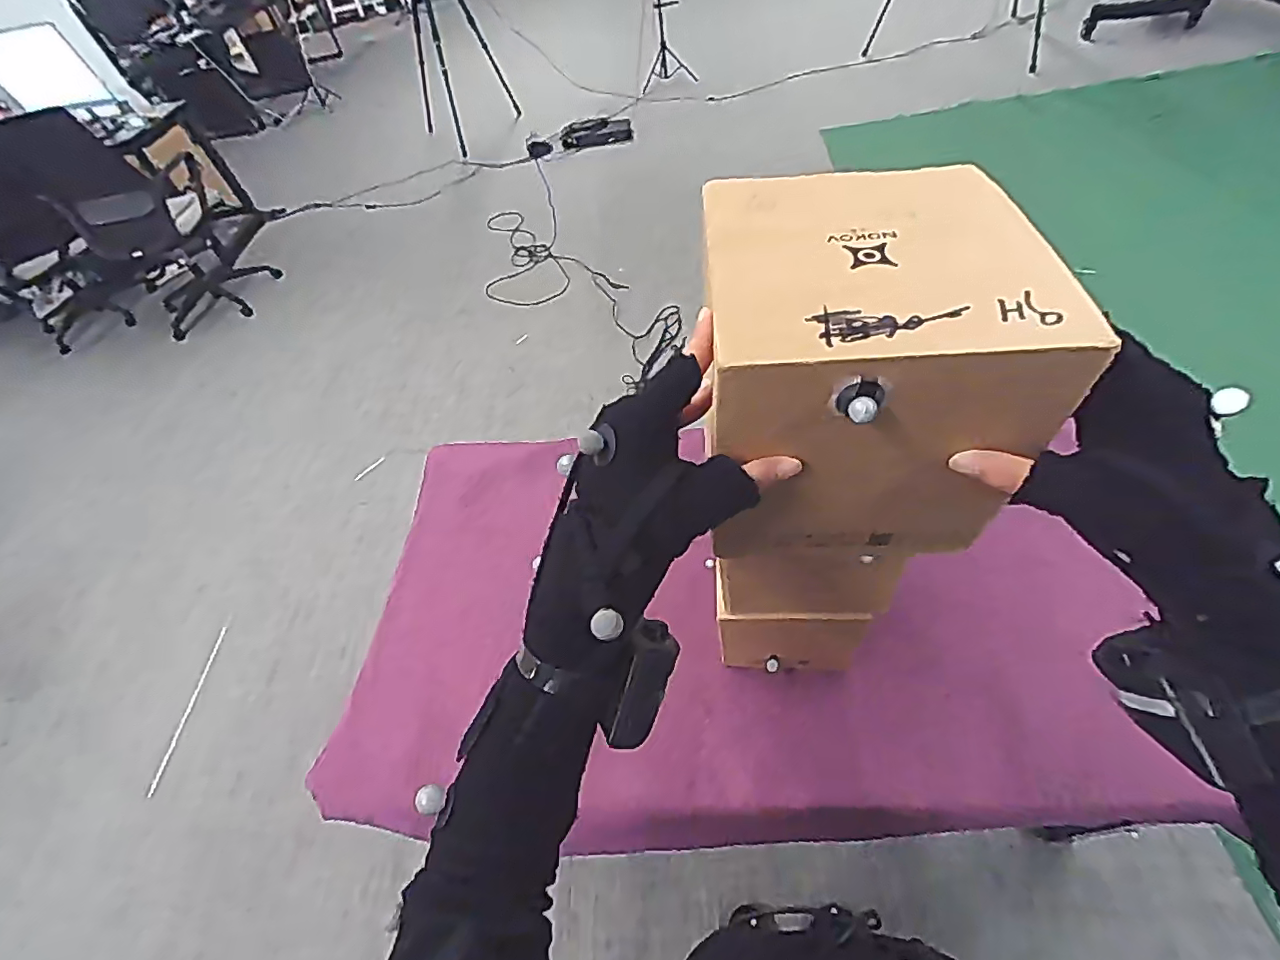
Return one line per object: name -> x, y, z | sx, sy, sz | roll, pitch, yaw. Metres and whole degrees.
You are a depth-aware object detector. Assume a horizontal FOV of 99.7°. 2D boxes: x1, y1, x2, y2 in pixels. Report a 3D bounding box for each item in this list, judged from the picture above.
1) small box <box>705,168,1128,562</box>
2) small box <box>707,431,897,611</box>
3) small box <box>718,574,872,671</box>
small box -> 0.126, -0.066, 0.339 | 0.168, 0.176, 0.179 | -2, 51, 6
small box -> 0.167, 0.030, 0.573 | 0.179, 0.176, 0.168 | -4, 52, 9
small box -> 0.187, 0.130, 0.699 | 0.168, 0.176, 0.179 | -3, 53, 10
